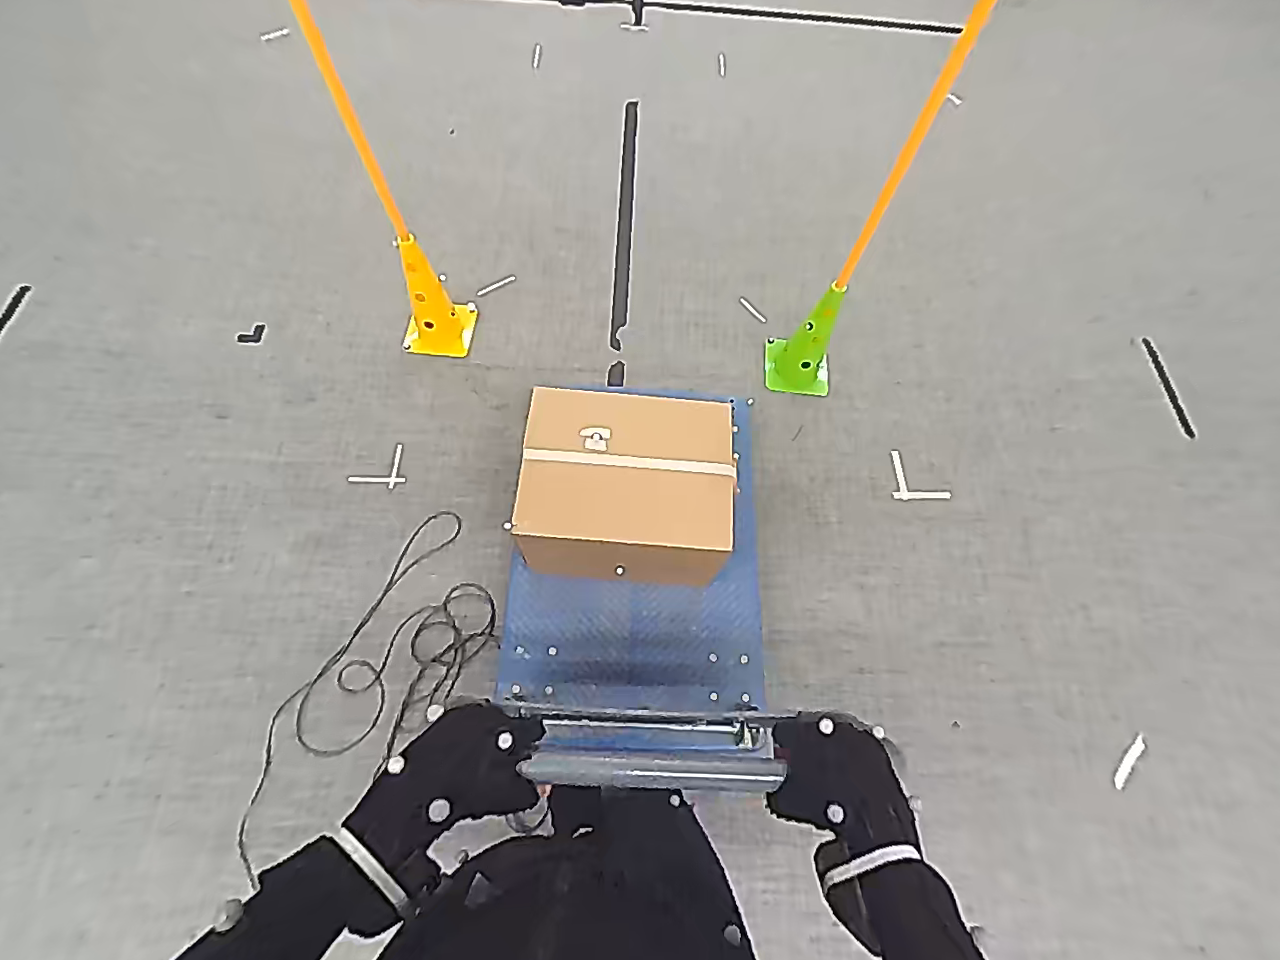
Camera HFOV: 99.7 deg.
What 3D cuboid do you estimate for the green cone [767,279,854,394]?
[{"bbox_3d":[0.521,-0.438,1.578,0.202,0.368,0.200,7,66,-2],"label":"green cone"}]

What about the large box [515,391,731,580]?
[{"bbox_3d":[-0.027,0.029,1.179,0.408,0.320,0.320,5,67,-1],"label":"large box"}]
